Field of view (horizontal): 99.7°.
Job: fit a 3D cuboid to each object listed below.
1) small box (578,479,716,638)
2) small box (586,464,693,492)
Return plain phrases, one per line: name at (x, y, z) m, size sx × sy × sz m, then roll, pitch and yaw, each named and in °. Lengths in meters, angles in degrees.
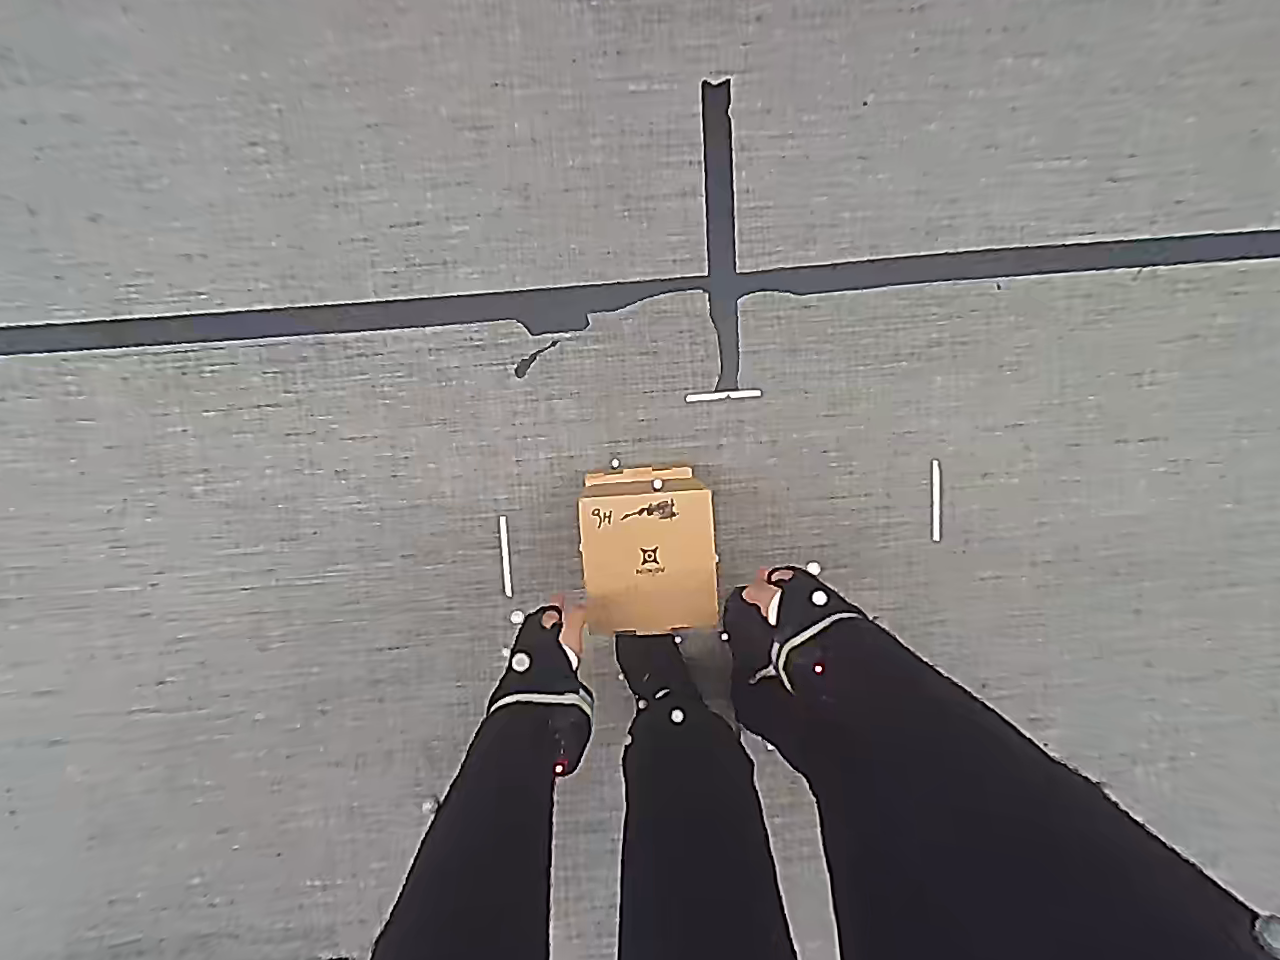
small box at (0.010, 0.098, 0.743) m, size 0.168 × 0.176 × 0.179 m, roll -4°, pitch 96°, yaw 0°
small box at (0.002, 0.066, 0.905) m, size 0.168 × 0.176 × 0.179 m, roll -5°, pitch 96°, yaw 0°
